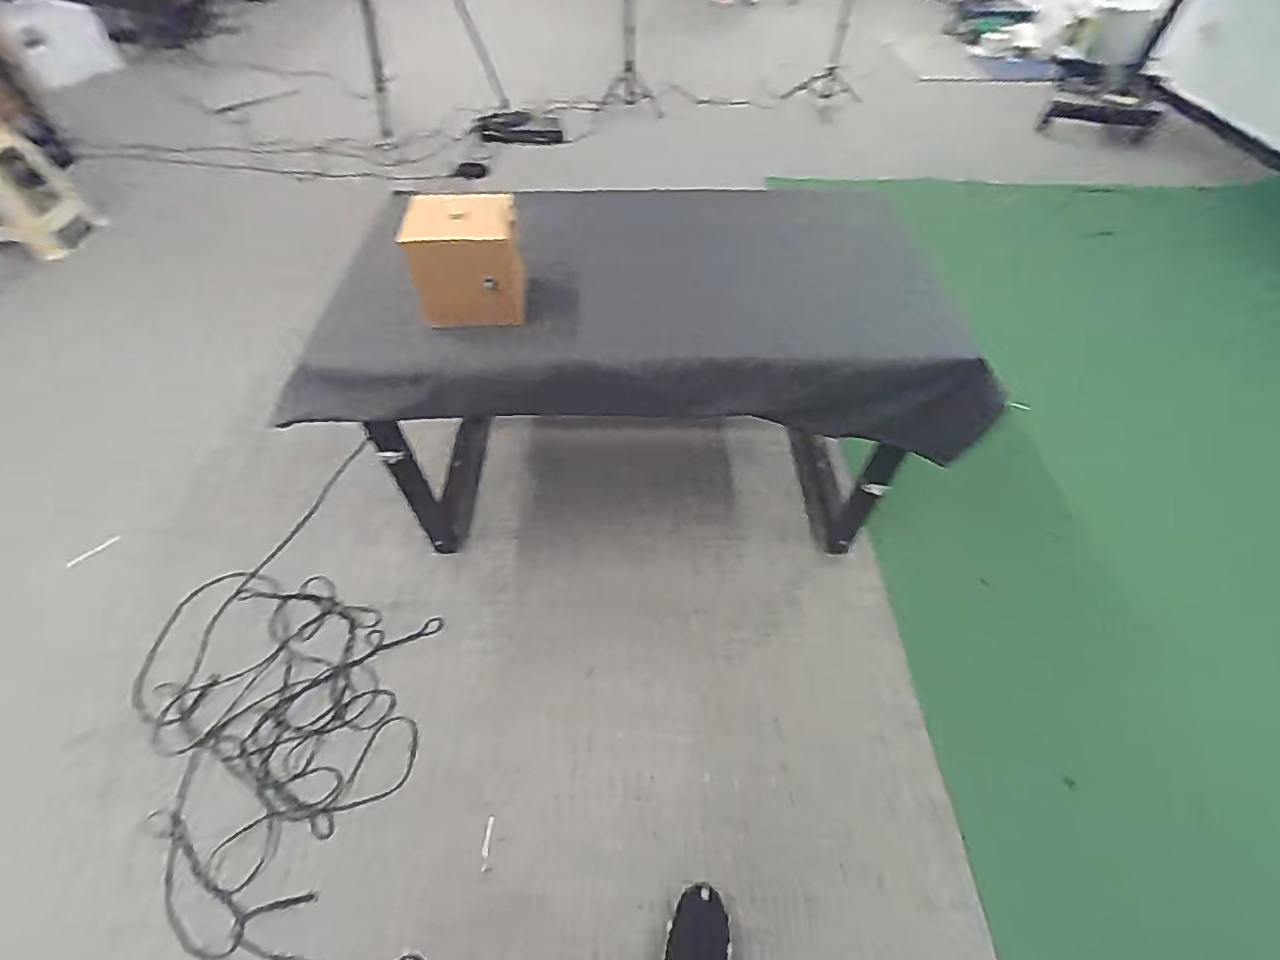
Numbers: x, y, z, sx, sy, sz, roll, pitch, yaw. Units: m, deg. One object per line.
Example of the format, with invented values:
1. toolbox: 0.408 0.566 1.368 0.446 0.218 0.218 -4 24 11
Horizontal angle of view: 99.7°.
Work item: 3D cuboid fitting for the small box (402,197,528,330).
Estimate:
1. small box: -0.303 -0.390 0.980 0.179 0.176 0.168 -4 51 -4
